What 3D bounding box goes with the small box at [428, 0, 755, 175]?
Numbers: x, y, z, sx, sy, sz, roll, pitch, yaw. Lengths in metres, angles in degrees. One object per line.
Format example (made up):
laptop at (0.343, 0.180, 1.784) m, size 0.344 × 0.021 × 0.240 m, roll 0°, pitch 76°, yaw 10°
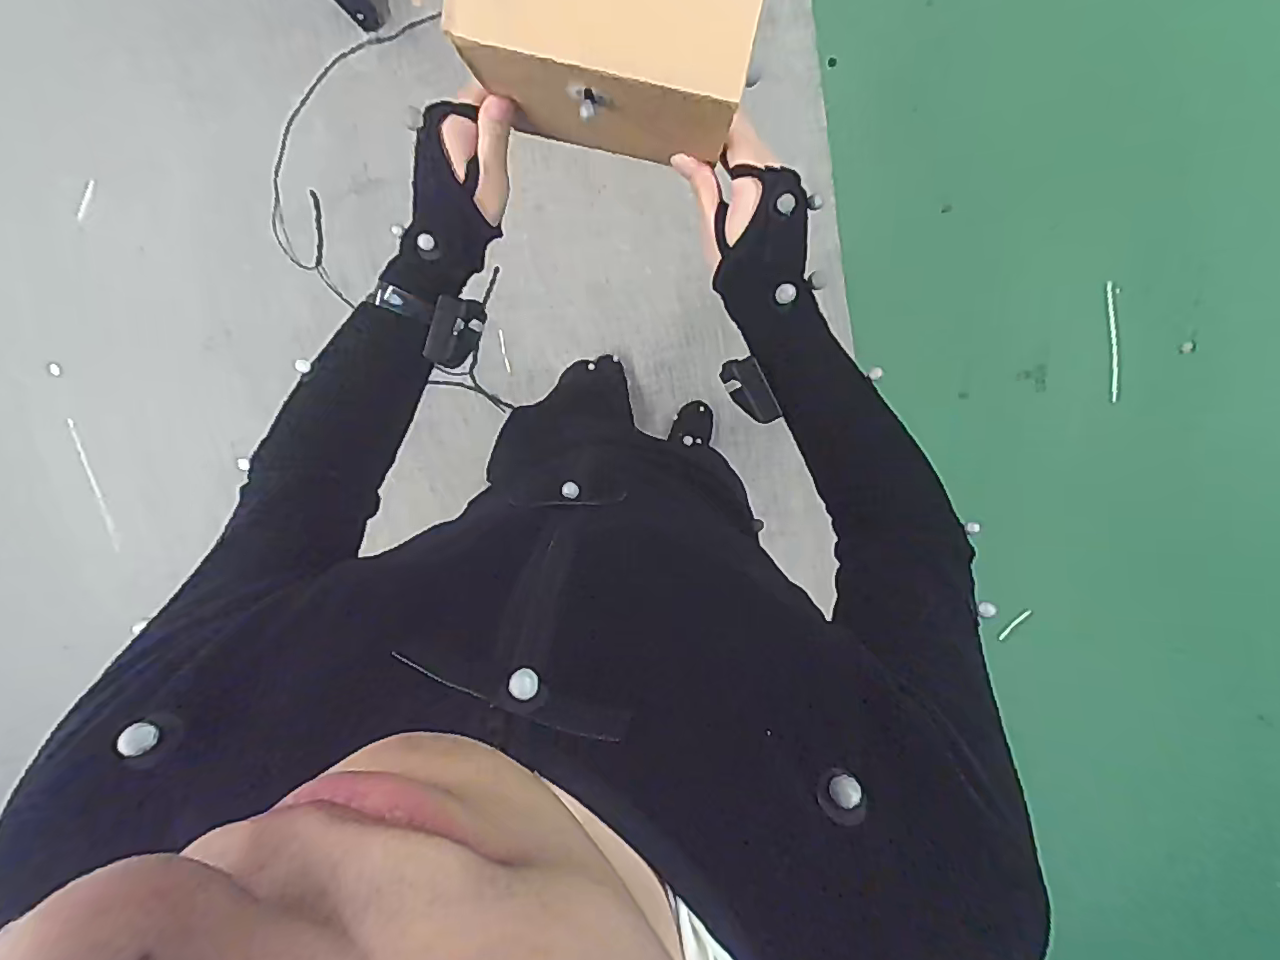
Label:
small box at (-0.013, -0.324, 0.357) m, size 0.179 × 0.176 × 0.168 m, roll 12°, pitch 106°, yaw -1°
